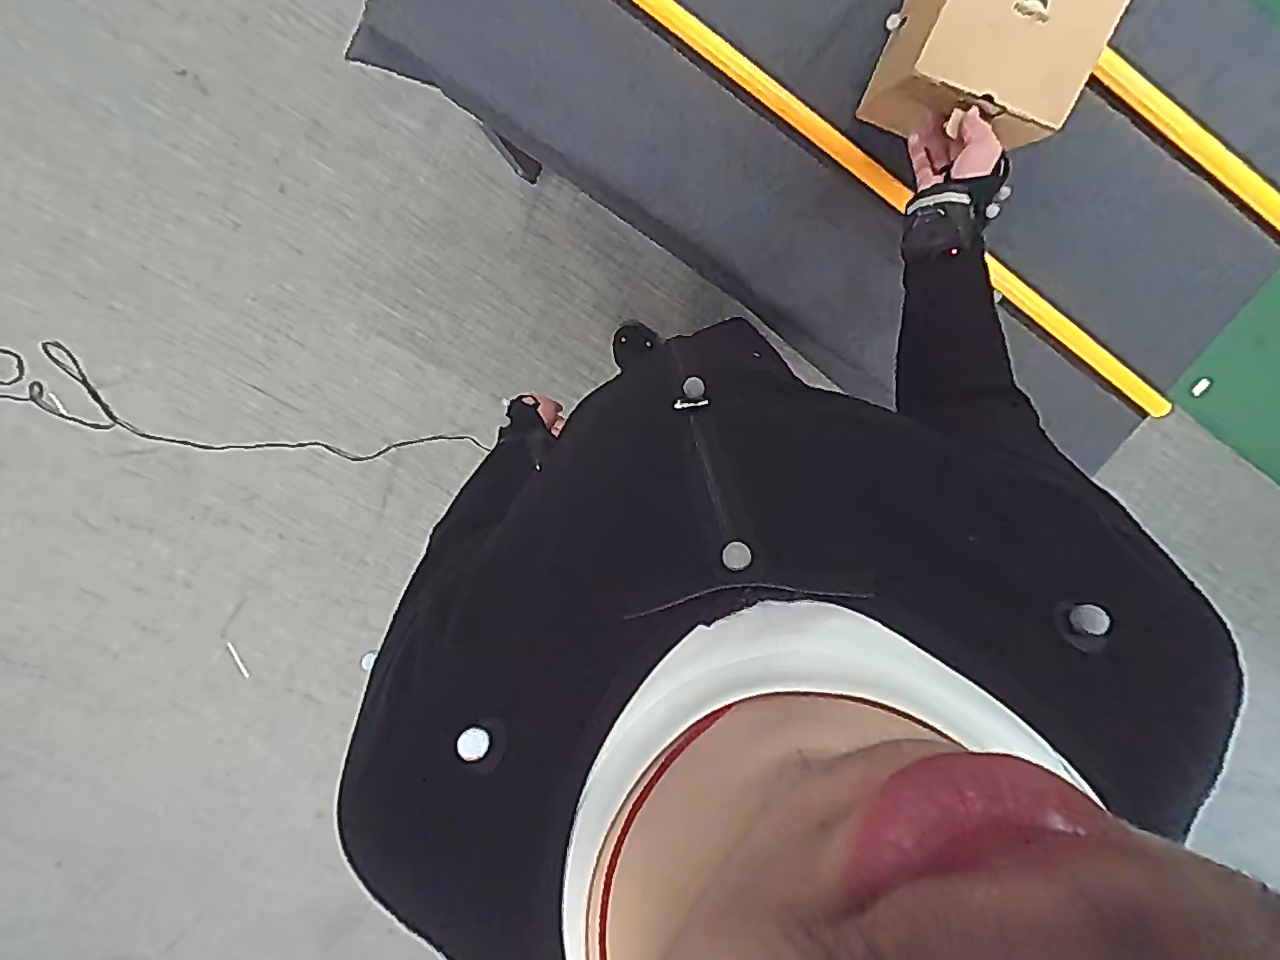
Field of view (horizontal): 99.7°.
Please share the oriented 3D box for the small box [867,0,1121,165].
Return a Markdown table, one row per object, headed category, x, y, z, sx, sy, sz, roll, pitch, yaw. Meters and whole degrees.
| category | x | y | z | sx | sy | sz | roll | pitch | yaw |
| --- | --- | --- | --- | --- | --- | --- | --- | --- | --- |
| small box | 0.377 | -0.477 | 0.601 | 0.168 | 0.176 | 0.179 | 16 | 110 | -1 |
